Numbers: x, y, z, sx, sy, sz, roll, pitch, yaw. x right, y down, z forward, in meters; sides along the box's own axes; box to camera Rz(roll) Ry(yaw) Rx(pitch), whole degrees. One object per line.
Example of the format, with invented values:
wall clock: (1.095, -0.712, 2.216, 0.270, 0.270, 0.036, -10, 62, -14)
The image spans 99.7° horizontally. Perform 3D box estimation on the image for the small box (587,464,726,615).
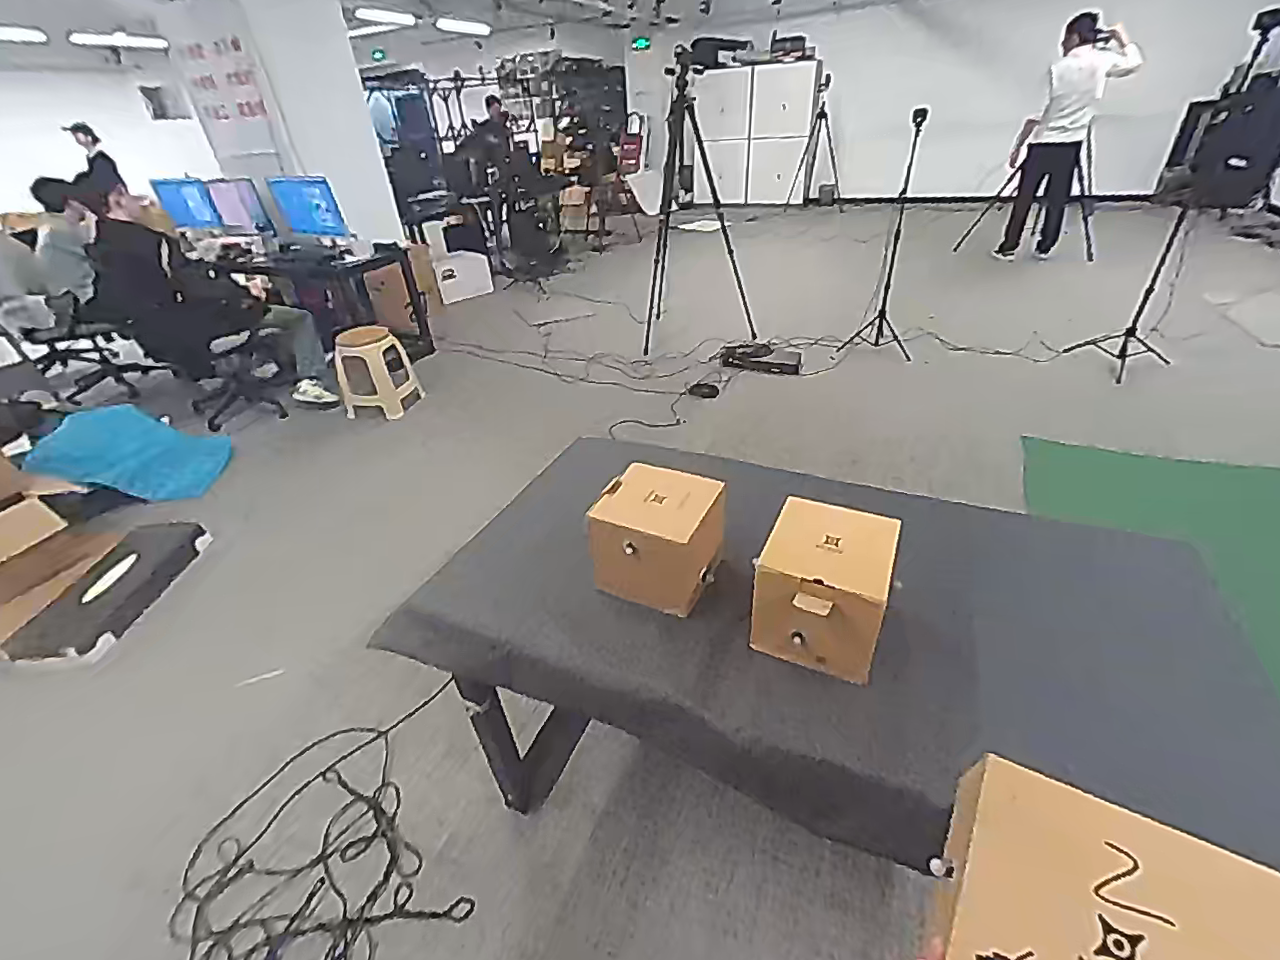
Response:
small box: (0.033, 0.098, 0.908, 0.179, 0.176, 0.168, 14, 39, 24)

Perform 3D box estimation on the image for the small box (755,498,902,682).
small box: (0.272, 0.156, 0.796, 0.168, 0.176, 0.179, 13, 38, 24)
